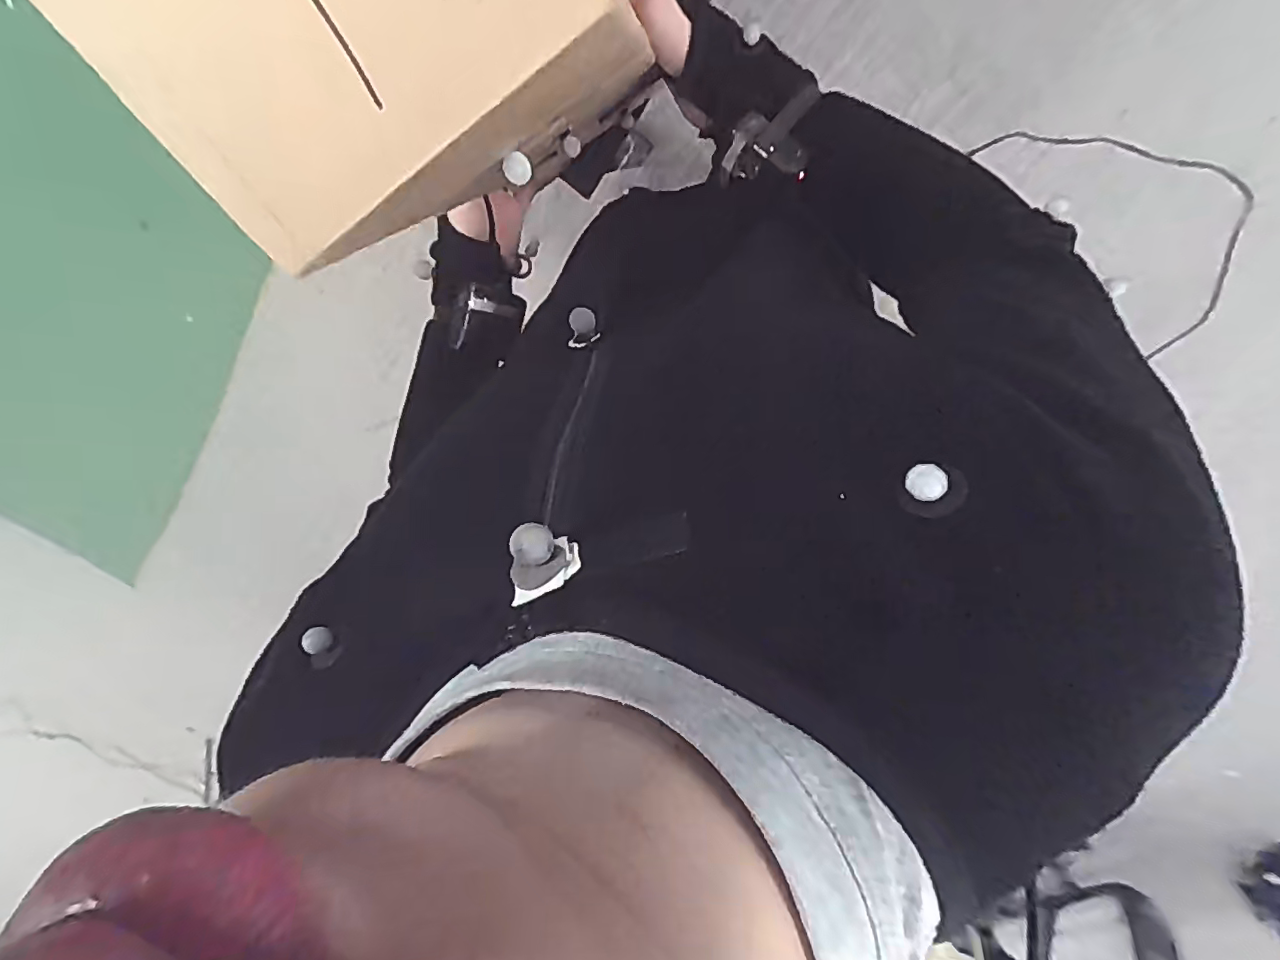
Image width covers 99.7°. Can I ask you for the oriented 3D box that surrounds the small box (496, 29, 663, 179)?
[{"bbox_3d":[-0.087,-0.412,0.495,0.168,0.176,0.179,-24,118,19],"label":"small box"}]

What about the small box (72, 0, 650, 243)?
[{"bbox_3d":[-0.109,-0.233,0.220,0.168,0.176,0.179,-25,119,21],"label":"small box"}]
